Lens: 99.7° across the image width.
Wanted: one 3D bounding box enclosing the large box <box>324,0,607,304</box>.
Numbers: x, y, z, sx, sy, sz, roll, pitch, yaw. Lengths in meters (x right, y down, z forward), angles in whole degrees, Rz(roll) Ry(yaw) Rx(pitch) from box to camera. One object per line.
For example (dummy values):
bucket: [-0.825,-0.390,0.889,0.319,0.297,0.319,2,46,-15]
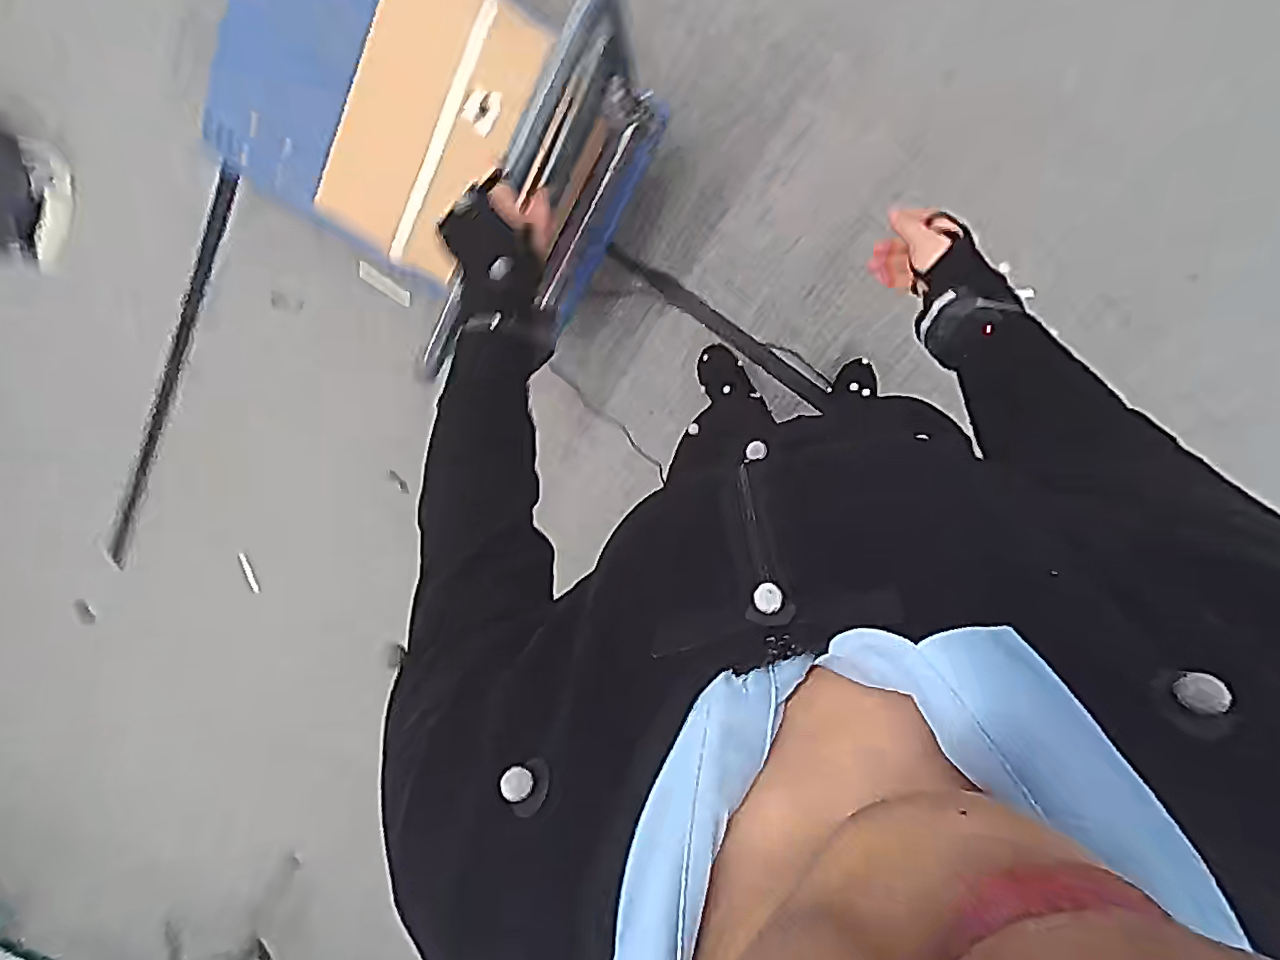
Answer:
large box: [-0.302,-0.586,1.012,0.320,0.320,0.408,30,108,-6]
